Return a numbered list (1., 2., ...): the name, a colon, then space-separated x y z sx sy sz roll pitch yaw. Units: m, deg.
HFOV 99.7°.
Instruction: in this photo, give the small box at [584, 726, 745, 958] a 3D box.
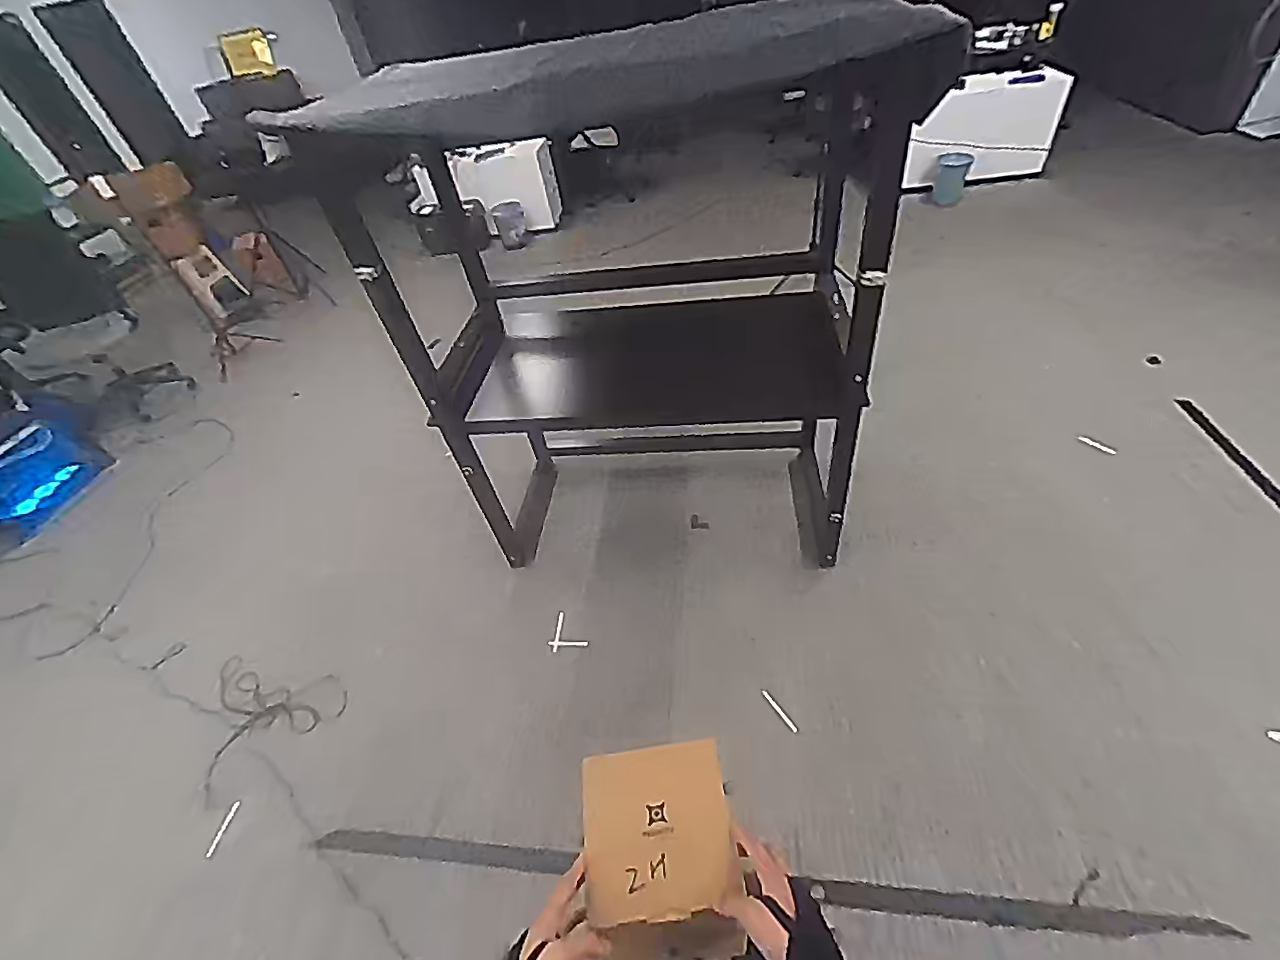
1. small box: 0.023 0.433 0.655 0.168 0.176 0.179 -7 36 -2
